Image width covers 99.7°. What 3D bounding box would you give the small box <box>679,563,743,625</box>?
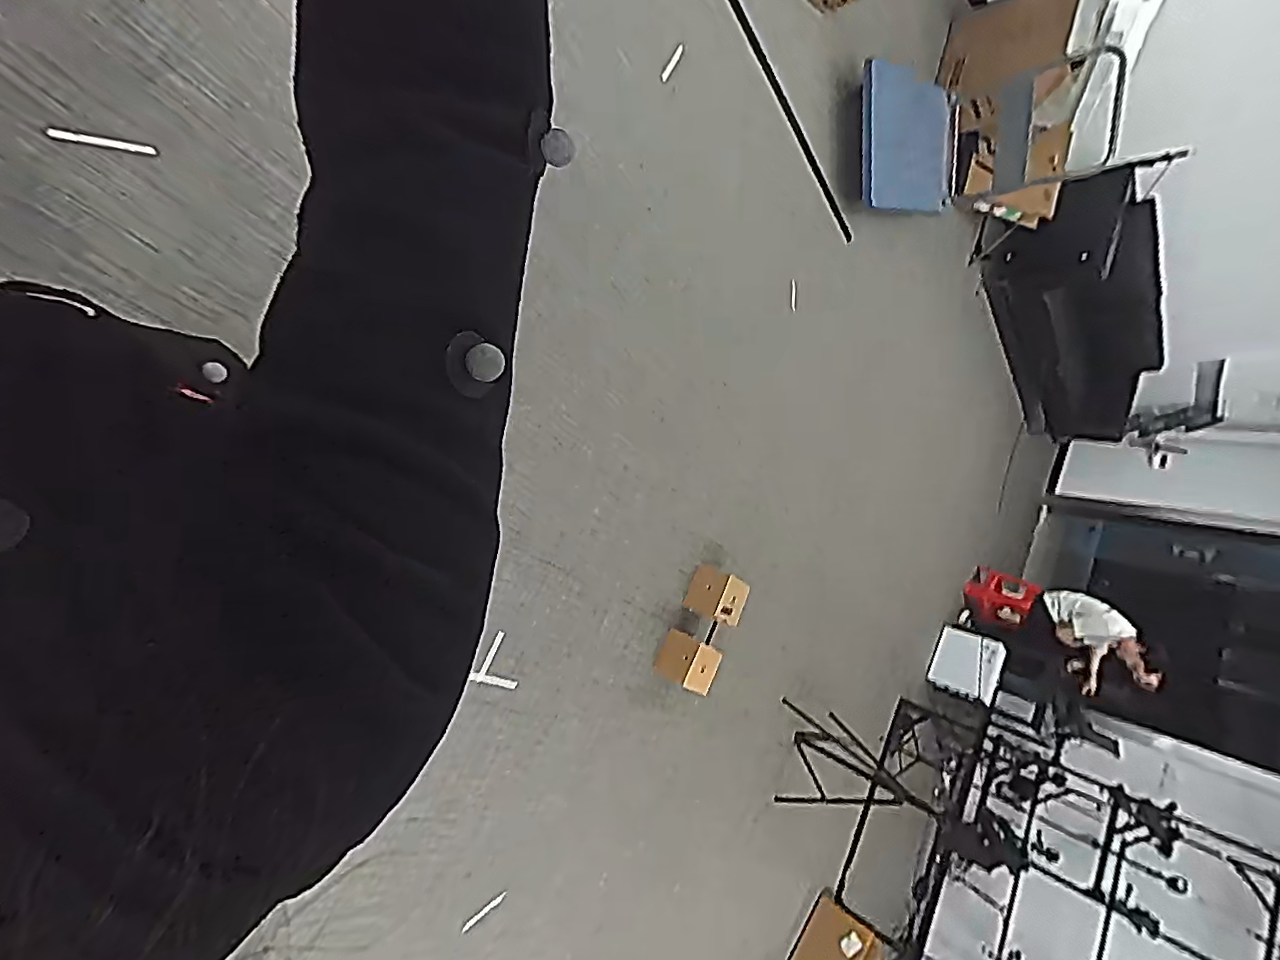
[{"bbox_3d":[0.285,0.463,2.203,0.168,0.176,0.179,38,71,-40],"label":"small box"}]

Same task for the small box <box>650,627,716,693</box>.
[{"bbox_3d":[0.162,0.710,2.139,0.168,0.176,0.179,39,71,-39],"label":"small box"}]
